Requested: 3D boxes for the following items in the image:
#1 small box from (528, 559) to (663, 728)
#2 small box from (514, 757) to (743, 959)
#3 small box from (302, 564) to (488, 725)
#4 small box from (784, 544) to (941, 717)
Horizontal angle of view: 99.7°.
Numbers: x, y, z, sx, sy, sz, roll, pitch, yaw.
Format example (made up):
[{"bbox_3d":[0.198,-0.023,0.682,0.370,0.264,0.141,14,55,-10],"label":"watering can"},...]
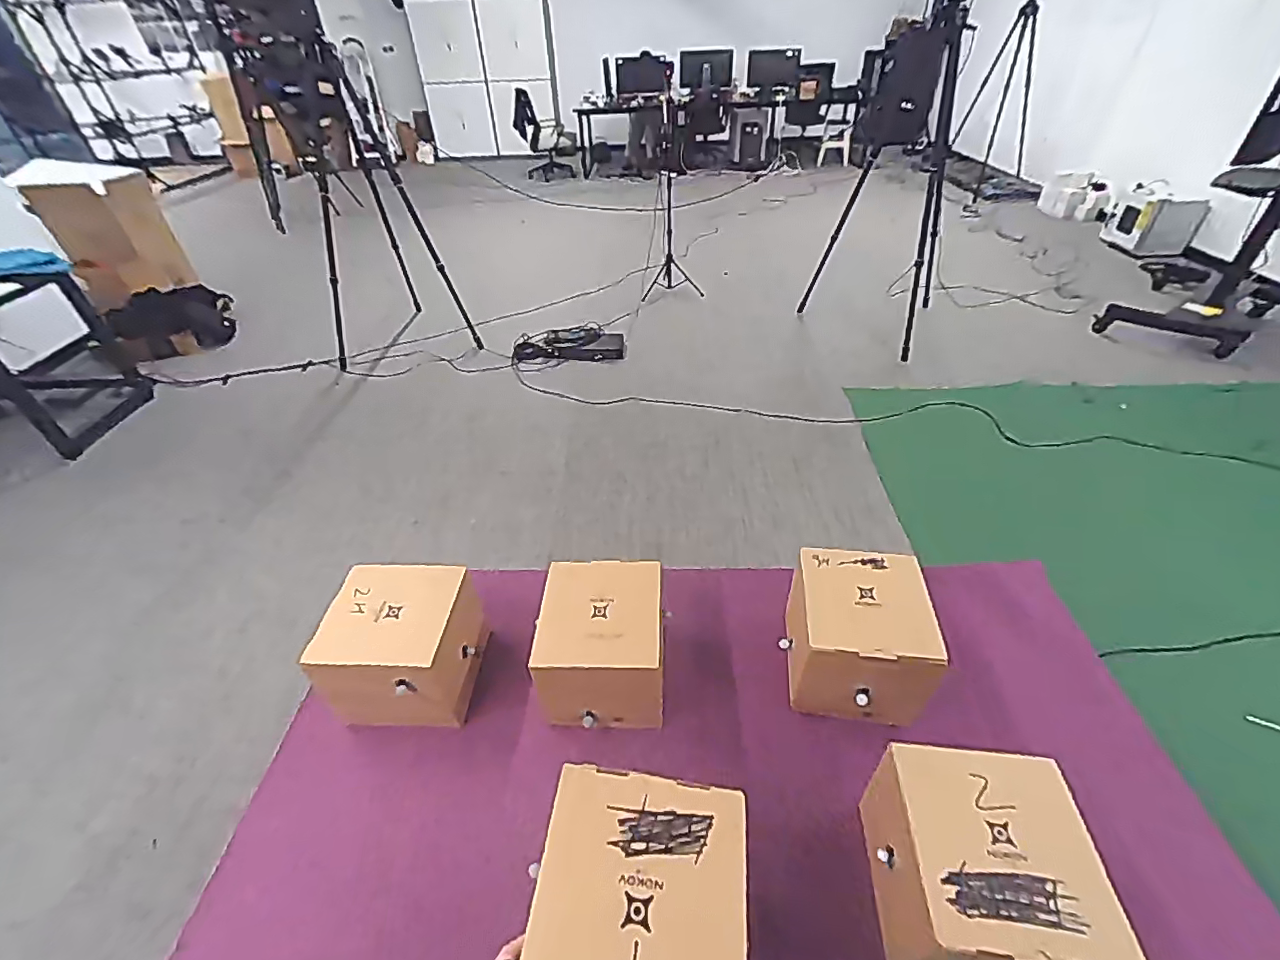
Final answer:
[{"bbox_3d":[-0.053,0.236,0.790,0.168,0.176,0.179,-1,41,4],"label":"small box"},{"bbox_3d":[-0.006,0.375,0.473,0.168,0.176,0.179,7,44,4],"label":"small box"},{"bbox_3d":[-0.340,0.243,0.798,0.179,0.176,0.168,0,40,4],"label":"small box"},{"bbox_3d":[0.304,0.218,0.781,0.168,0.176,0.179,4,41,8],"label":"small box"}]
